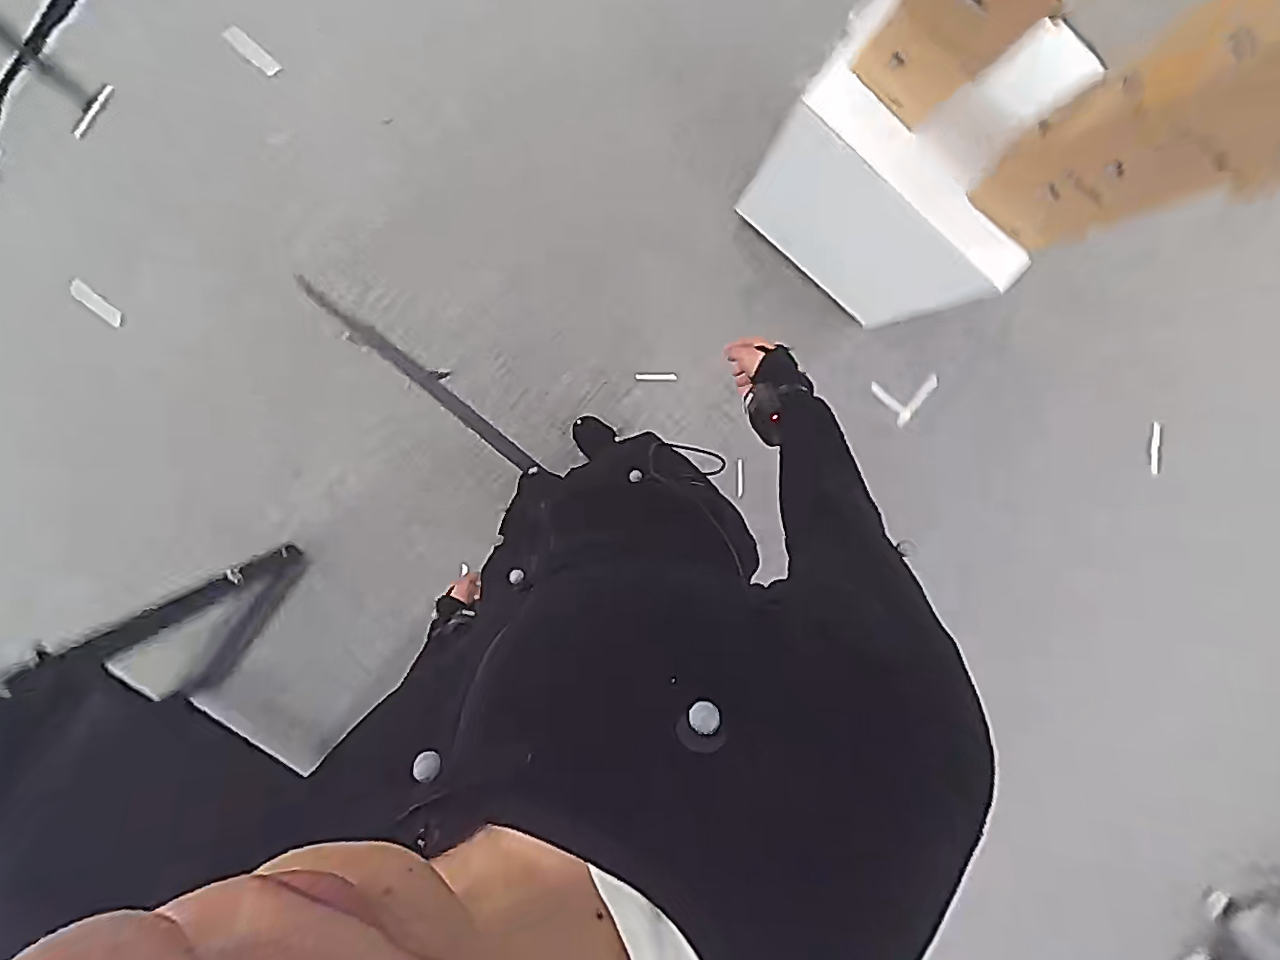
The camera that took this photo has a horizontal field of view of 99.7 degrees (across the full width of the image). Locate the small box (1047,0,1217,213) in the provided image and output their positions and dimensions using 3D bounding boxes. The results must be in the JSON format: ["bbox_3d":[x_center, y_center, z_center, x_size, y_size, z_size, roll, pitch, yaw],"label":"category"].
[{"bbox_3d":[0.715,-0.508,0.742,0.168,0.176,0.179,37,95,-7],"label":"small box"}]

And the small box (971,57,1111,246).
[{"bbox_3d":[0.708,-0.532,0.905,0.168,0.176,0.179,36,95,-6],"label":"small box"}]

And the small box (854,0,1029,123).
[{"bbox_3d":[0.475,-0.729,0.867,0.168,0.176,0.179,39,94,-8],"label":"small box"}]
